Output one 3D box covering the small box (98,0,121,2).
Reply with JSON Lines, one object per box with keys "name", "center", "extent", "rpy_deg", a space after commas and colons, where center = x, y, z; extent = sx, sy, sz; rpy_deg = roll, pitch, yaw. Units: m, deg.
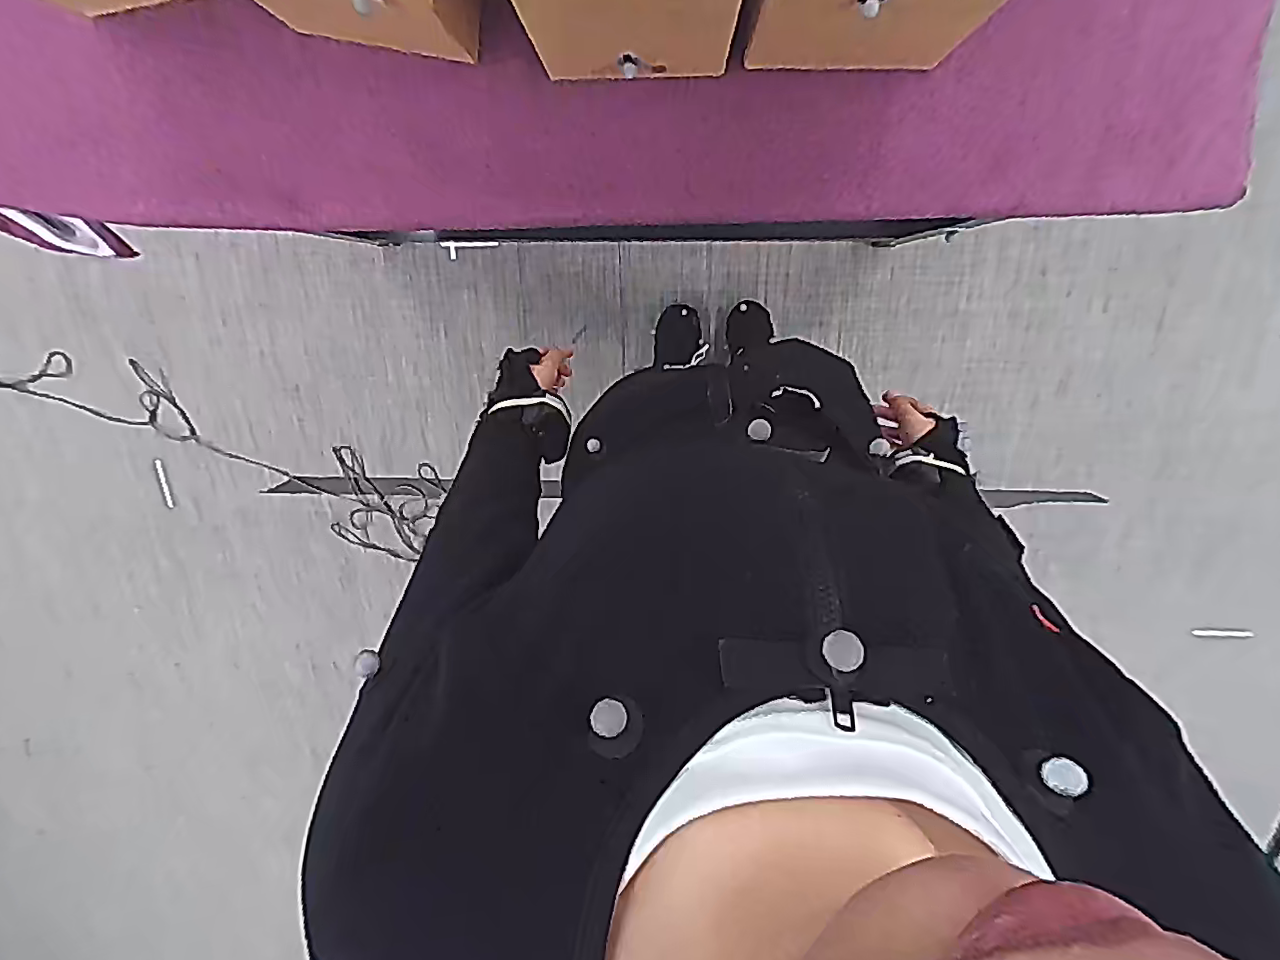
{"name": "small box", "center": [-0.457, -0.506, 0.407], "extent": [0.168, 0.176, 0.179], "rpy_deg": [-7, 109, 5]}
